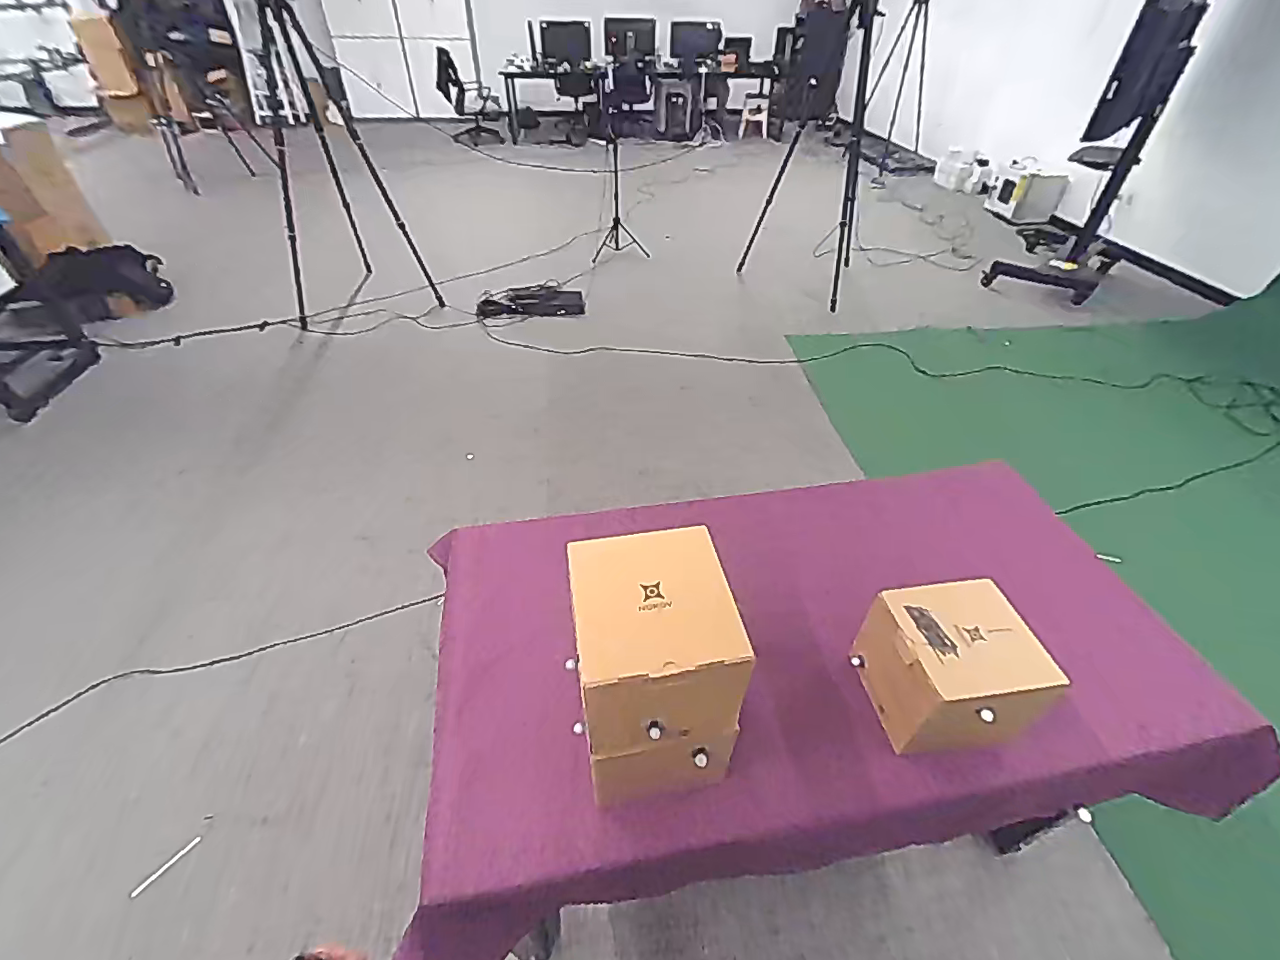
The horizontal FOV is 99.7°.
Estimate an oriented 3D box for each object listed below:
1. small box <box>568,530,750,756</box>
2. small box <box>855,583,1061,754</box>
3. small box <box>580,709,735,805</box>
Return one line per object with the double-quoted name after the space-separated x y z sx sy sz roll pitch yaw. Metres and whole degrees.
0.009 0.183 0.619 0.168 0.176 0.179 -6 43 -9 "small box"
0.429 0.270 0.773 0.179 0.176 0.168 -4 42 -7 "small box"
0.010 0.307 0.724 0.179 0.176 0.168 -7 42 -8 "small box"
